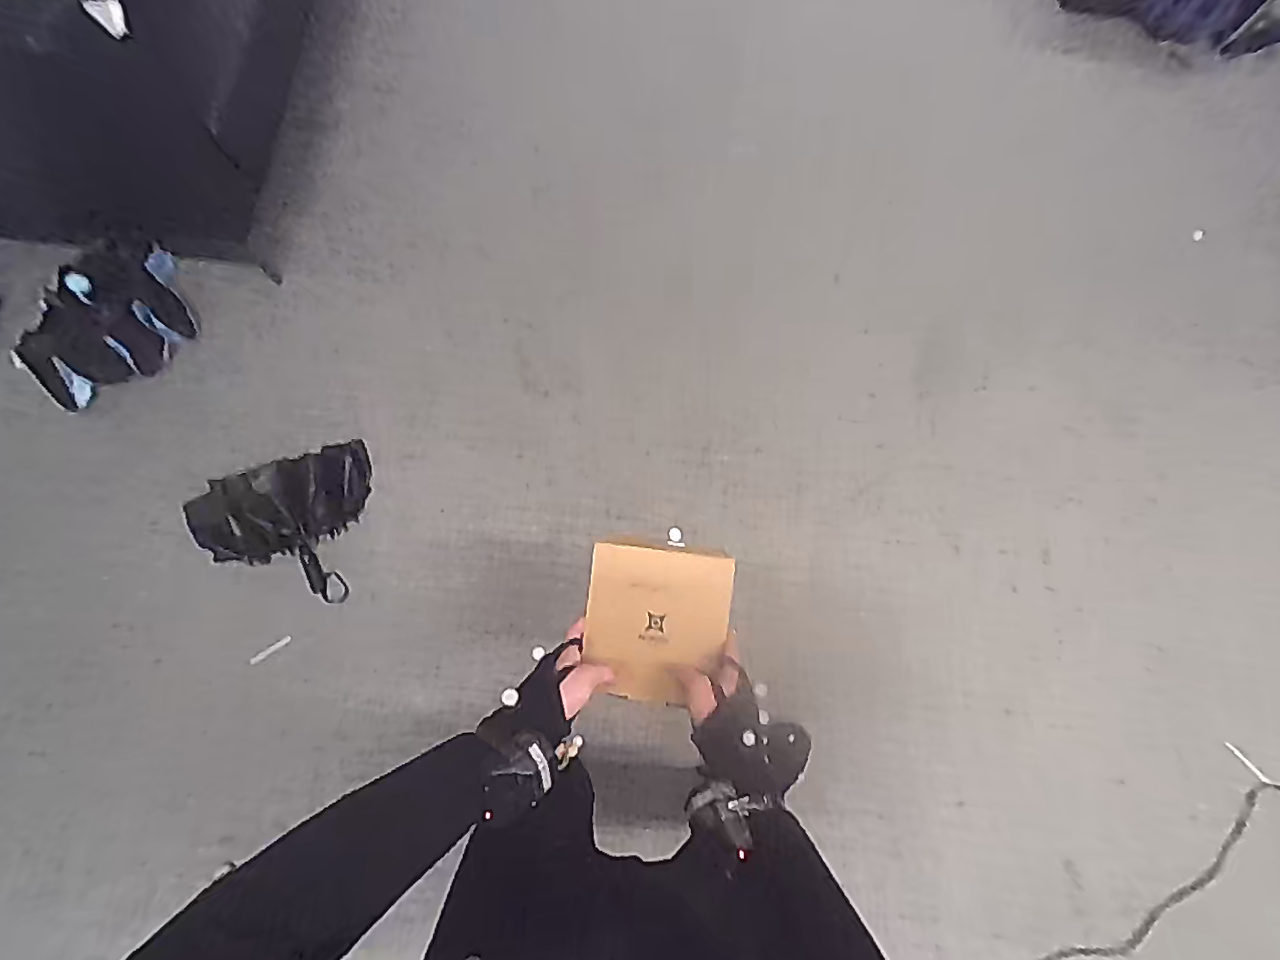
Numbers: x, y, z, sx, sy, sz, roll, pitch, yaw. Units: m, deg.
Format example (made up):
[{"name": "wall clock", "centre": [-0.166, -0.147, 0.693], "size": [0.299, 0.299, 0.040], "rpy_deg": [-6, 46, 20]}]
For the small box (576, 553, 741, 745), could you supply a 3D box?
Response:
[{"name": "small box", "centre": [0.025, 0.194, 0.670], "size": [0.168, 0.176, 0.179], "rpy_deg": [7, 88, 3]}]
